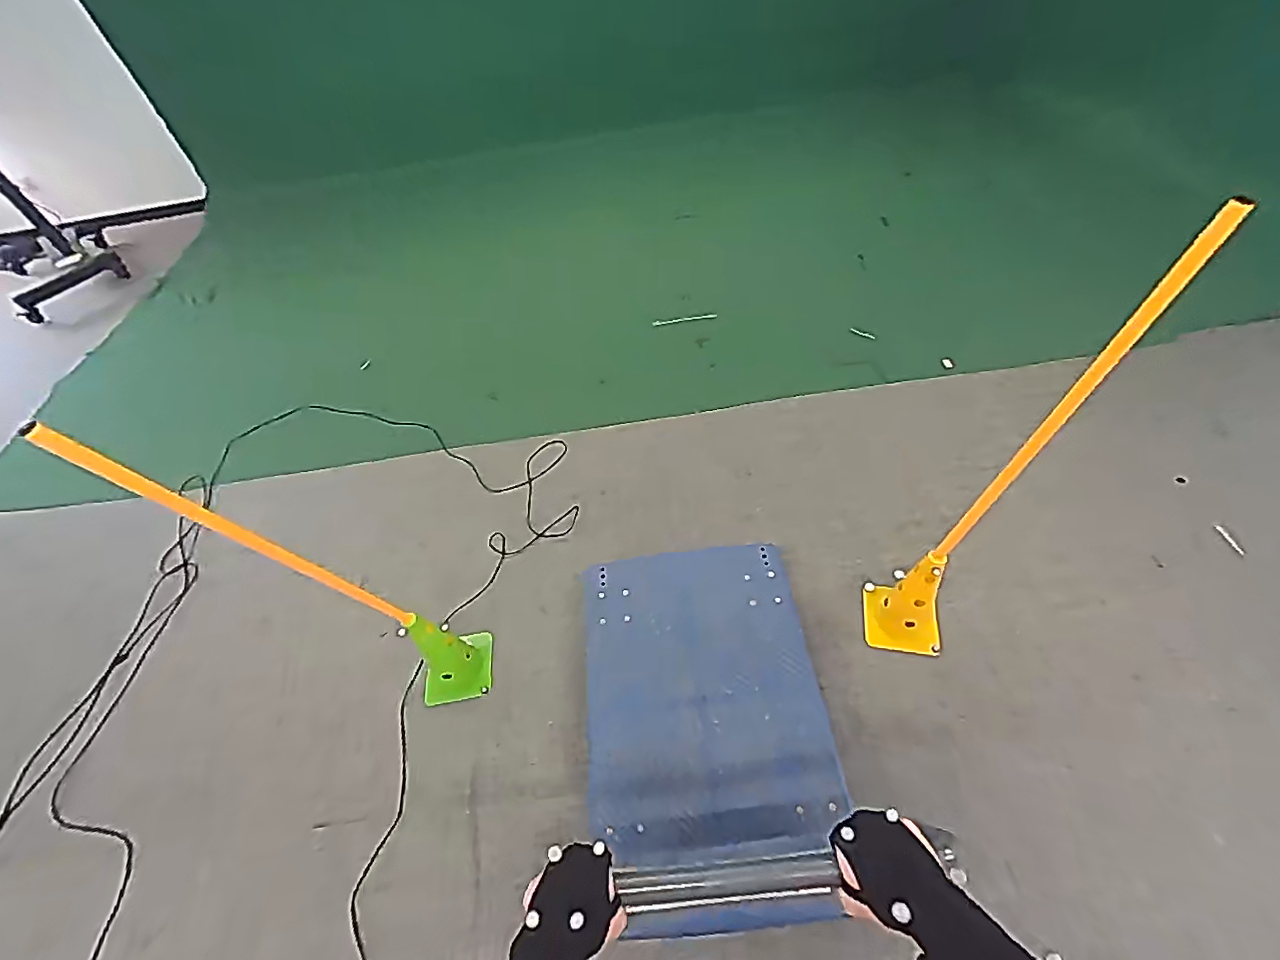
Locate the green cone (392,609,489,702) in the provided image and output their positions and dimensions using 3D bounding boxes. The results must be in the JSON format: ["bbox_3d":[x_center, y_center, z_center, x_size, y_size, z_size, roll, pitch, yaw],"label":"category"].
[{"bbox_3d":[-0.581,0.452,1.509,0.202,0.368,0.200,-12,50,1],"label":"green cone"}]
